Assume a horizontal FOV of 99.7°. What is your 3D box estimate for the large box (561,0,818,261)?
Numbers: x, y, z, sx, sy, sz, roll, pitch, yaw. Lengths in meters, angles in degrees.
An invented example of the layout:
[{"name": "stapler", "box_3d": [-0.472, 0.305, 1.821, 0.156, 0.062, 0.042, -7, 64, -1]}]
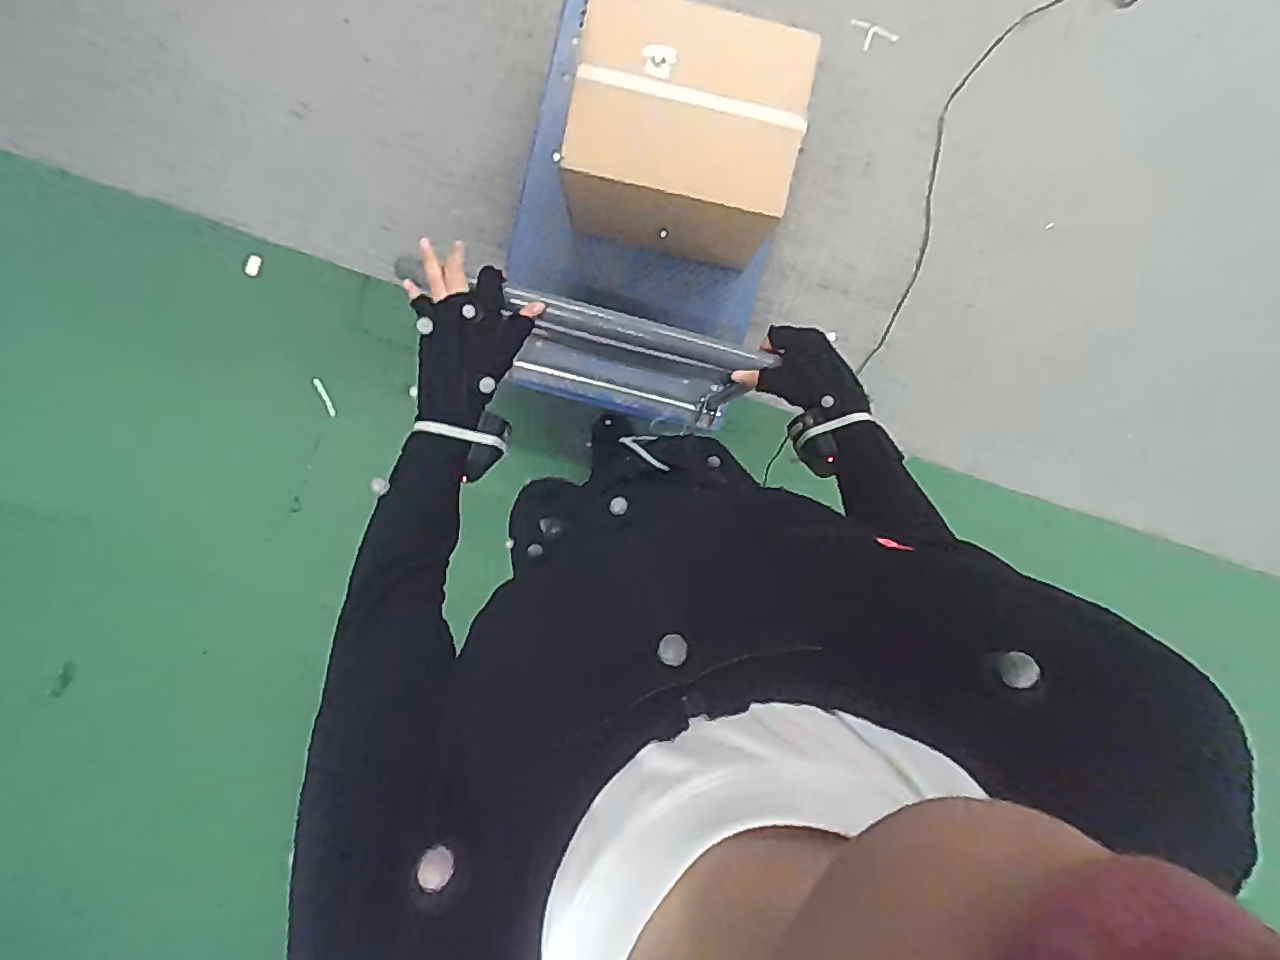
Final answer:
[{"name": "large box", "box_3d": [0.083, -0.671, 1.079, 0.408, 0.320, 0.320, 12, 94, -3]}]
